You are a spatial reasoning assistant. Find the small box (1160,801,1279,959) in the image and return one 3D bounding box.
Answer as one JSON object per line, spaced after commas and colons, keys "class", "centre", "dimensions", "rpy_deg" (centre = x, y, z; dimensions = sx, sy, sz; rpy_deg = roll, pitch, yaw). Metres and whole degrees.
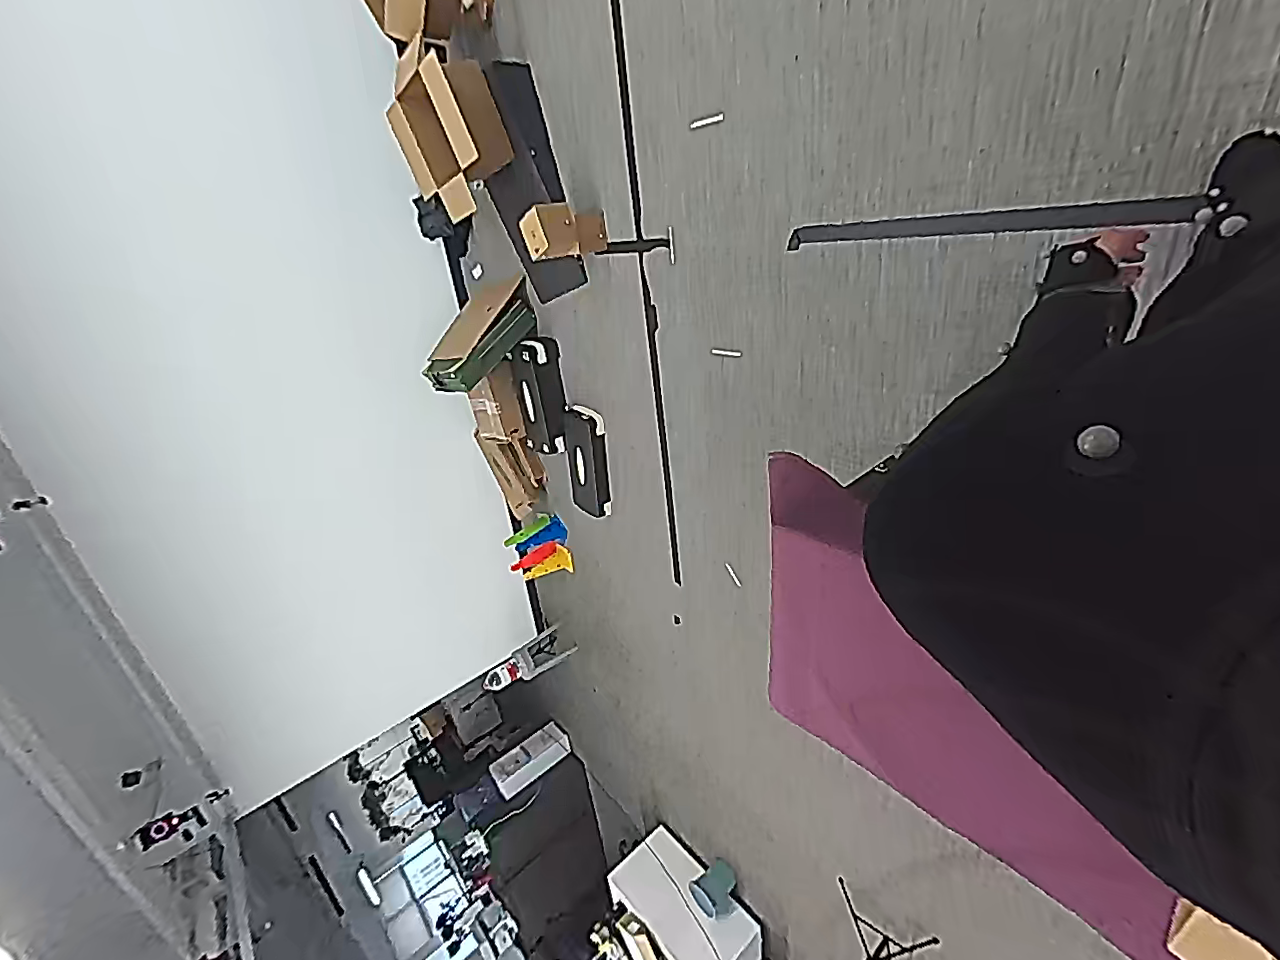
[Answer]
{"class": "small box", "centre": [0.846, 0.581, 0.720], "dimensions": [0.168, 0.176, 0.179], "rpy_deg": [25, 129, 44]}
